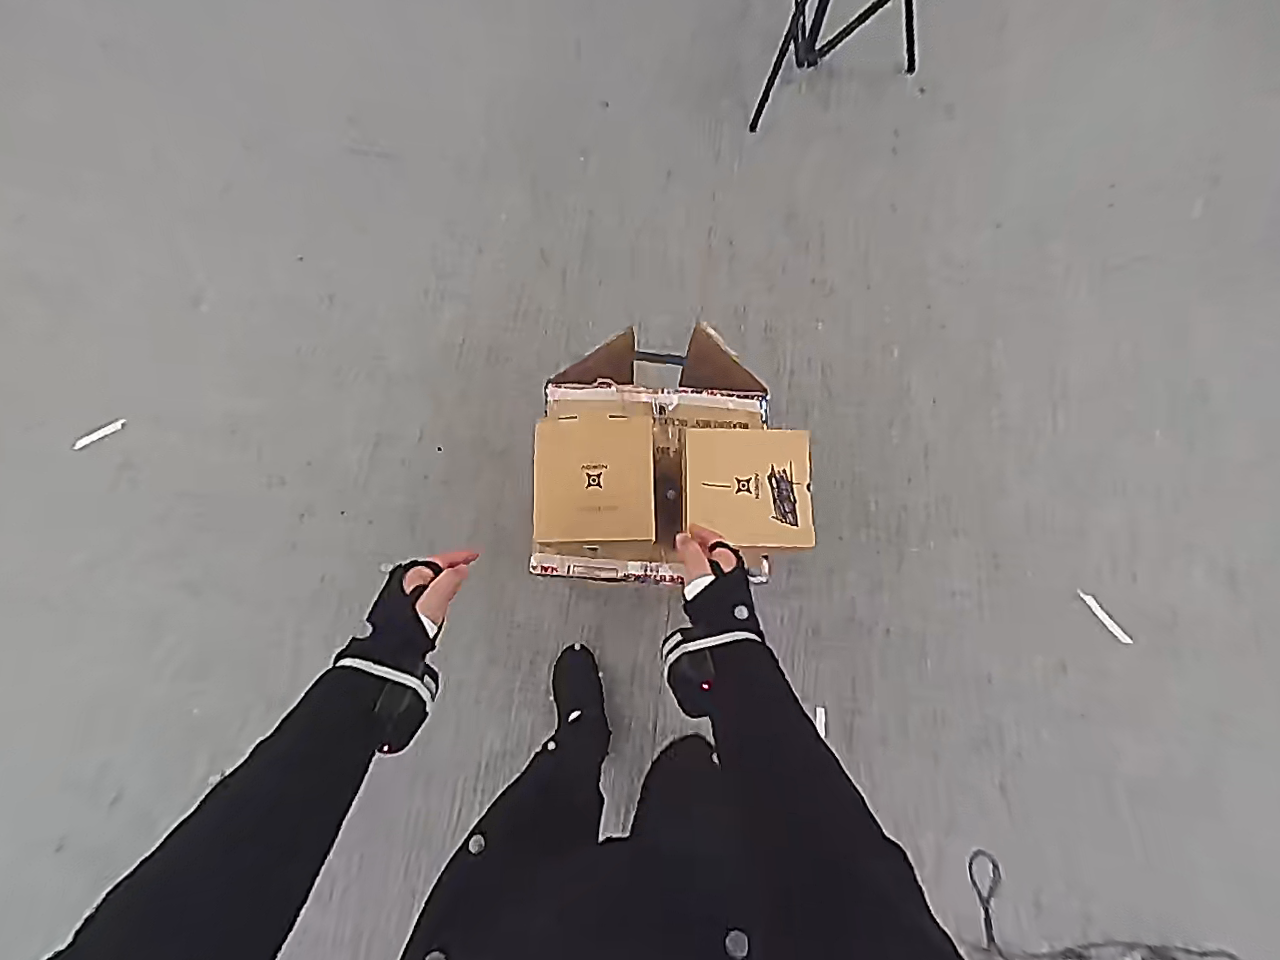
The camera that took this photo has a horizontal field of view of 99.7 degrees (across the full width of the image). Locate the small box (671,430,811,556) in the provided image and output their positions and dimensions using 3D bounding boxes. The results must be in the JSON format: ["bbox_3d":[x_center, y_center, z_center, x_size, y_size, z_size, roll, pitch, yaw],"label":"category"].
[{"bbox_3d":[0.144,0.027,0.821,0.179,0.176,0.168,1,79,-2],"label":"small box"}]

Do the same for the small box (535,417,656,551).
[{"bbox_3d":[-0.063,0.014,0.820,0.168,0.176,0.179,-2,80,0],"label":"small box"}]
